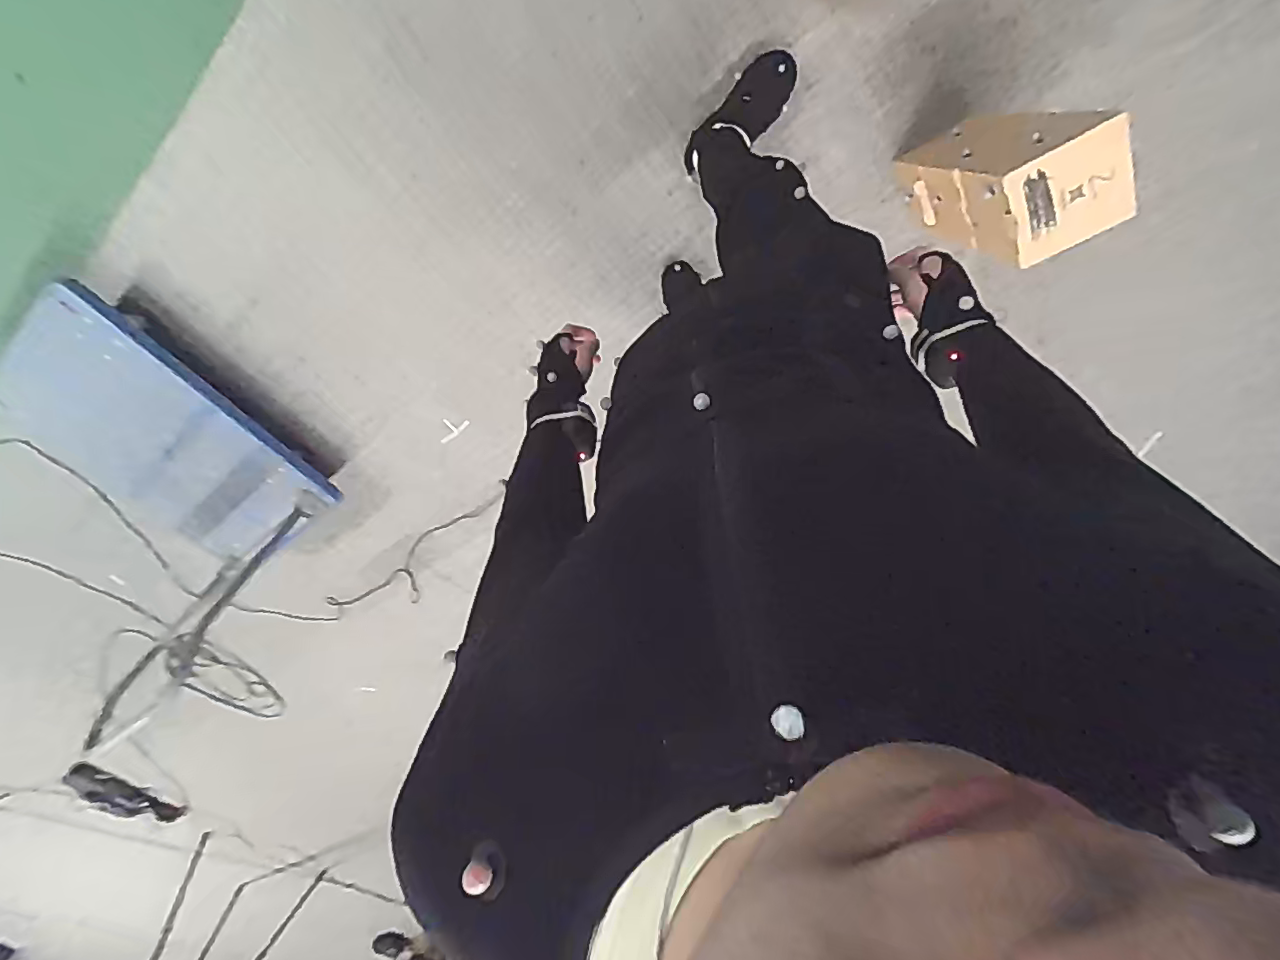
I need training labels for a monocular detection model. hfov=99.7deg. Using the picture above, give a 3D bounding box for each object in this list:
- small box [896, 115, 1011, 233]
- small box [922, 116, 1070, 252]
[{"bbox_3d":[0.700,-0.680,1.201,0.179,0.176,0.168,-20,117,18],"label":"small box"},{"bbox_3d":[0.696,-0.588,1.070,0.179,0.176,0.168,-25,118,20],"label":"small box"}]
